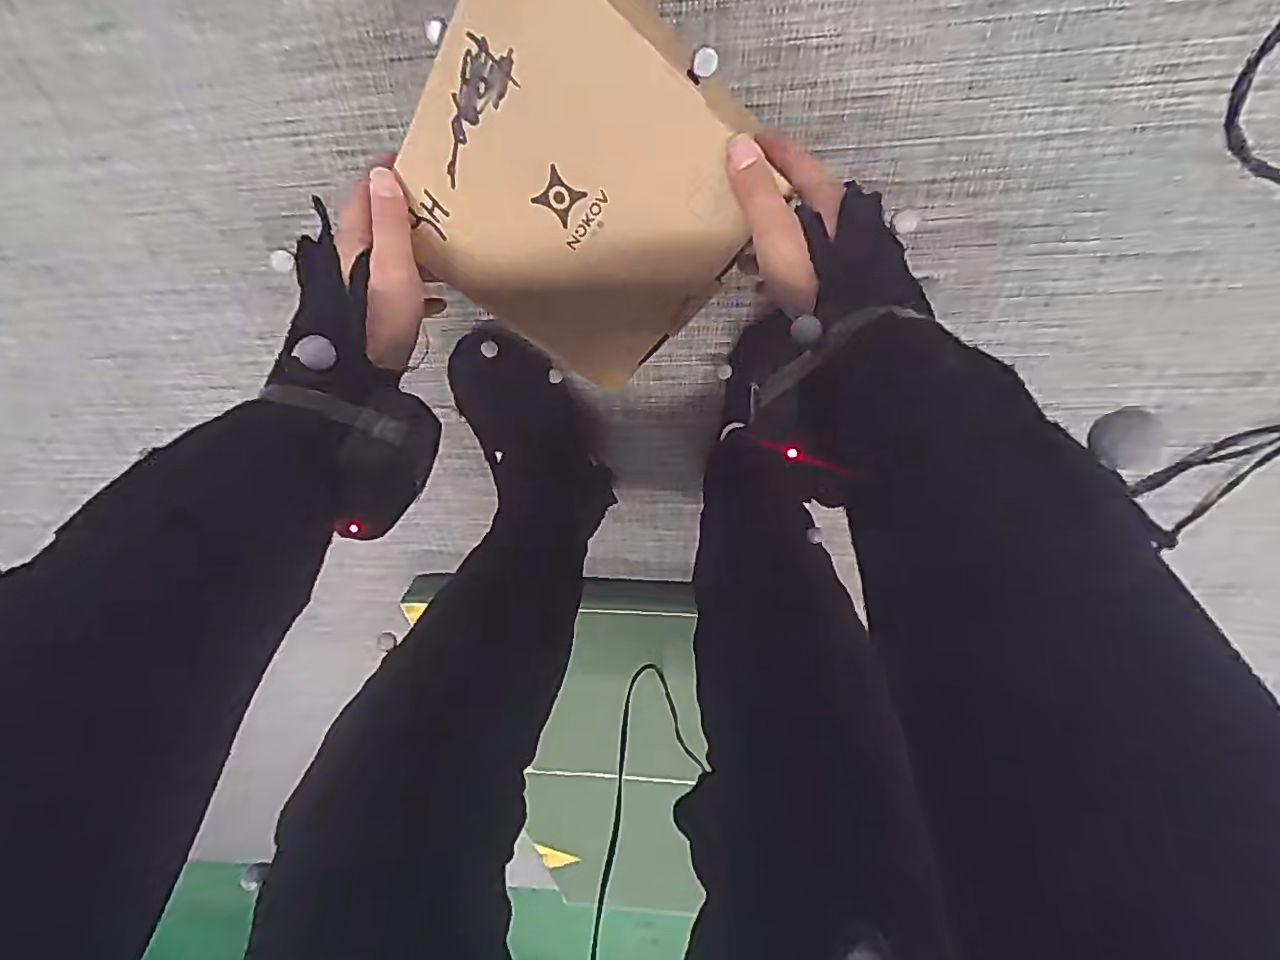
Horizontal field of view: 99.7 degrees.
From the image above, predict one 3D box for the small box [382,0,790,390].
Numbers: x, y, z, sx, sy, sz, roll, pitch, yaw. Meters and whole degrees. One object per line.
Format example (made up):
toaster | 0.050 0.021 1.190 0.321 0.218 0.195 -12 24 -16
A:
small box | -0.027 -0.202 0.360 0.179 0.176 0.168 33 127 -22
